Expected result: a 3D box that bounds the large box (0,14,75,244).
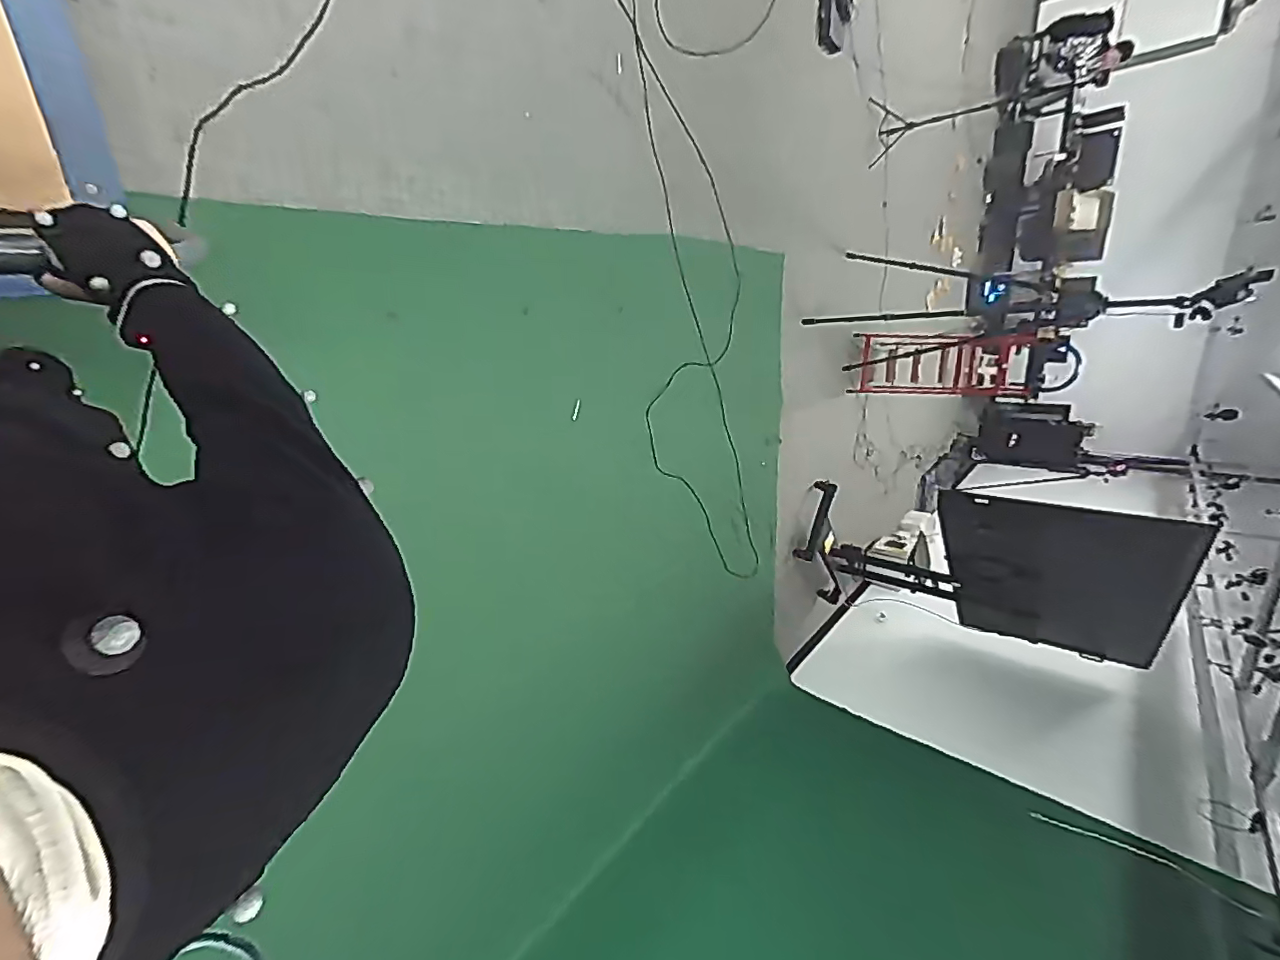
[{"bbox_3d":[-1.065,-0.554,0.730,0.320,0.320,0.408,-24,115,-45],"label":"large box"}]
